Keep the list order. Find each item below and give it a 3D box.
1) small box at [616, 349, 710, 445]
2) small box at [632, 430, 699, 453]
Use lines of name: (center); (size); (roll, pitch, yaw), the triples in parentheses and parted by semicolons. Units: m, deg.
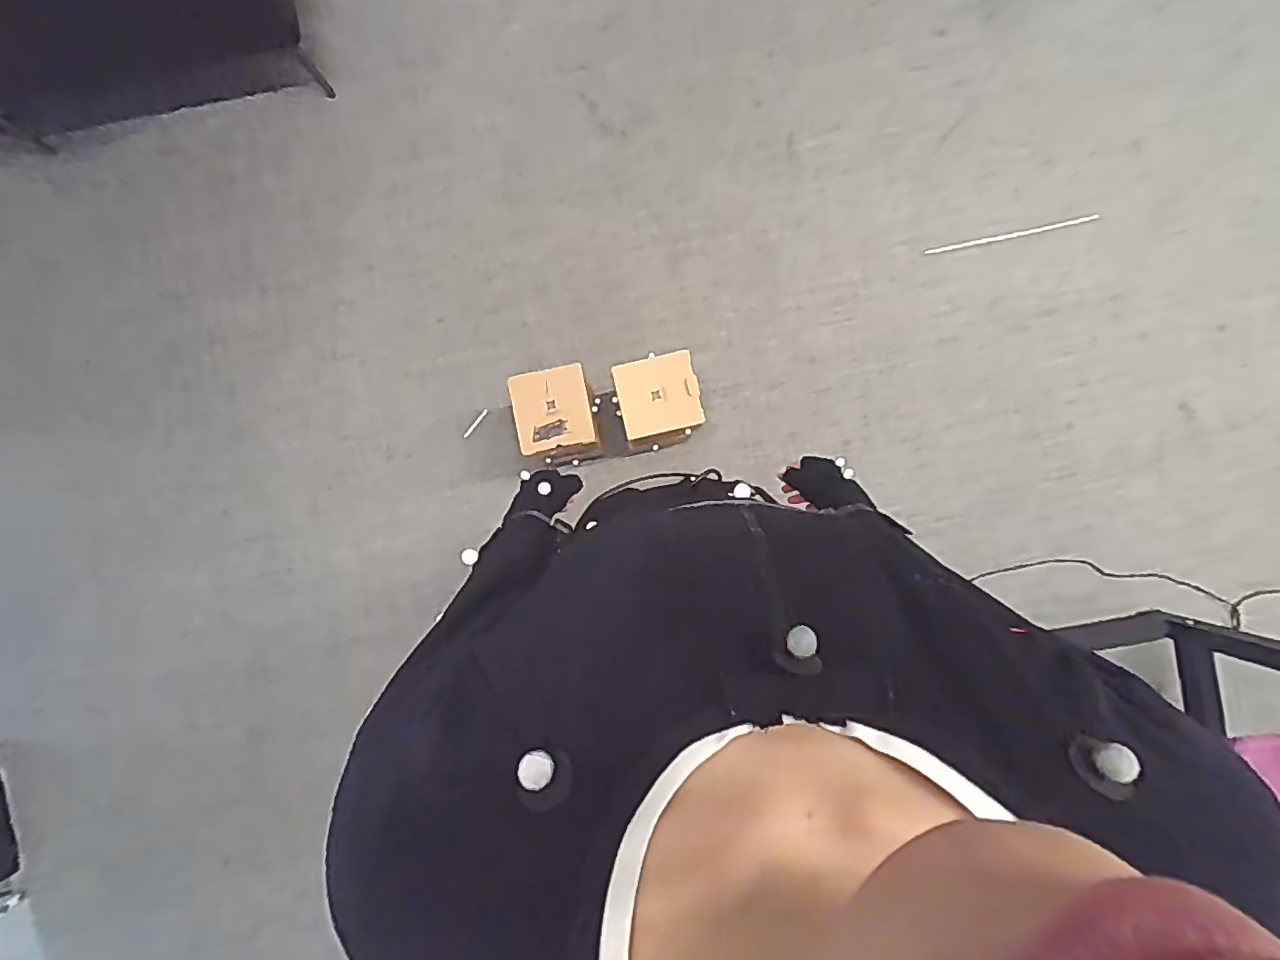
small box: (0.051, -0.182, 1.238); (0.179, 0.176, 0.168); (-14, 90, 0)
small box: (0.049, -0.175, 1.402); (0.168, 0.176, 0.179); (-13, 90, 1)
